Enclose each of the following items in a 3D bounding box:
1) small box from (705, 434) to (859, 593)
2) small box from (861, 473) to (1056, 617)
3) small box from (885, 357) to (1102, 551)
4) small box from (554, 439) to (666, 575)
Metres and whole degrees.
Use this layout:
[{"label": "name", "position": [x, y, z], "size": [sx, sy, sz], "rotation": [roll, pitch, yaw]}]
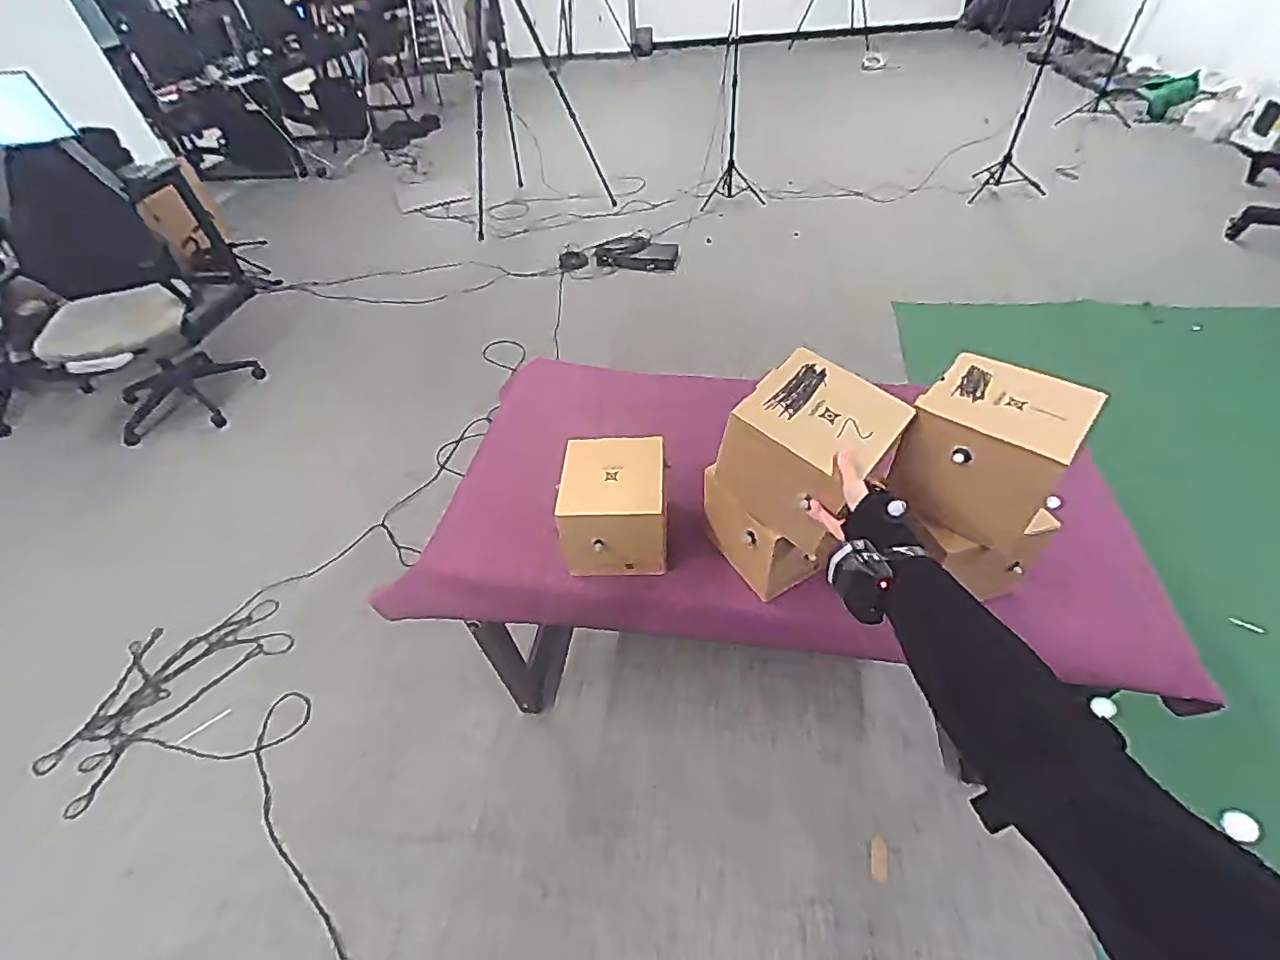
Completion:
[{"label": "small box", "position": [0.221, 0.061, 0.888], "size": [0.168, 0.176, 0.179], "rotation": [-24, 48, -18]}, {"label": "small box", "position": [0.476, 0.088, 0.841], "size": [0.179, 0.176, 0.168], "rotation": [-13, 45, -6]}, {"label": "small box", "position": [0.464, -0.036, 0.734], "size": [0.179, 0.176, 0.168], "rotation": [32, 55, 31]}, {"label": "small box", "position": [-0.041, 0.050, 0.926], "size": [0.168, 0.176, 0.179], "rotation": [-2, 45, 4]}]
